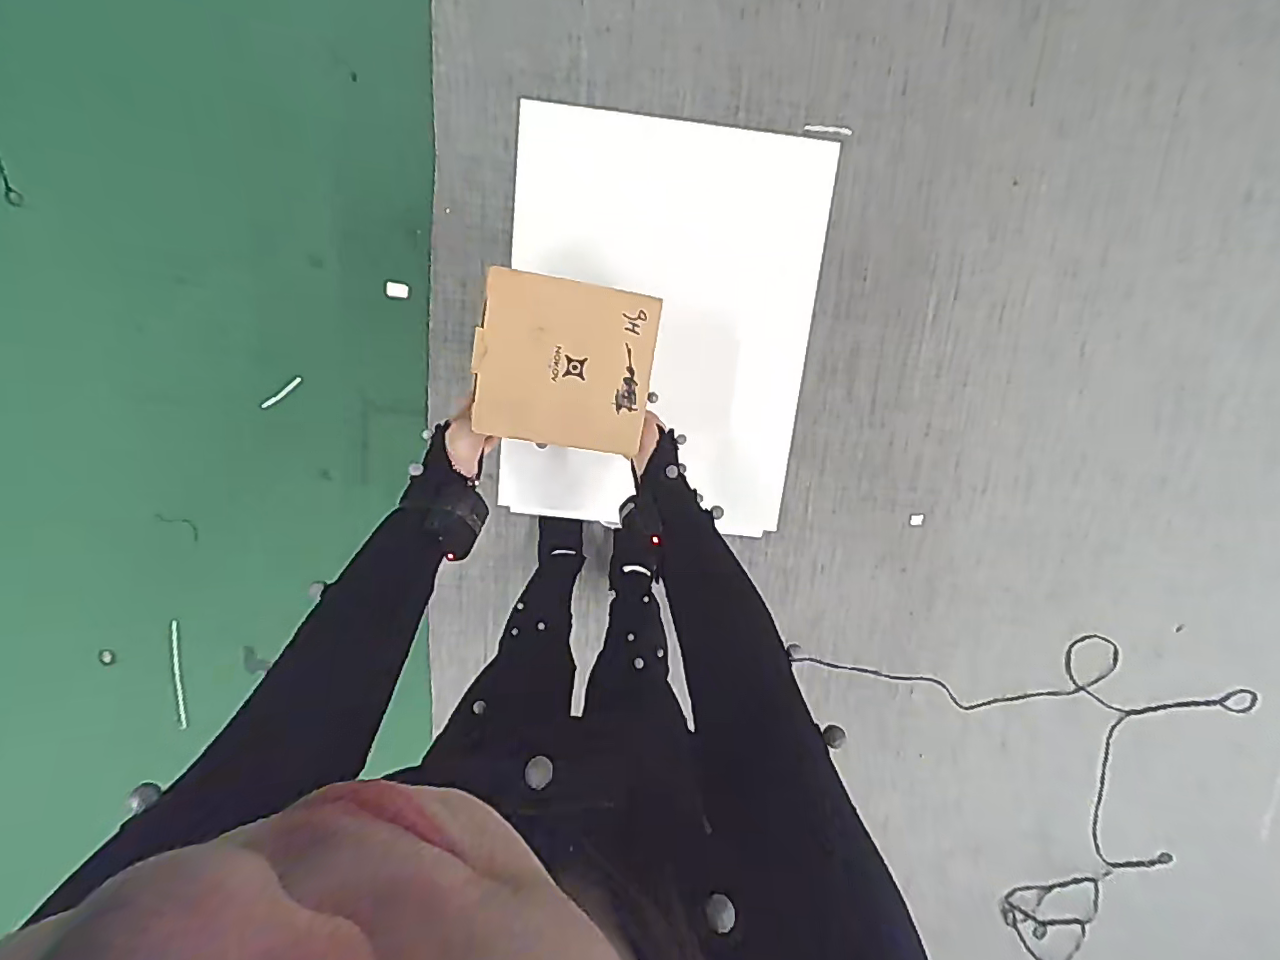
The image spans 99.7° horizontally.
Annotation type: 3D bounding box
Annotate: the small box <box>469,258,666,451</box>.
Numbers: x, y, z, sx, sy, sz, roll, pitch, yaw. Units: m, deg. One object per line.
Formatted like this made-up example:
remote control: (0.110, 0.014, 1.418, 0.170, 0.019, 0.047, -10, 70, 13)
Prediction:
small box: (-0.082, -0.134, 0.621, 0.179, 0.176, 0.168, 9, 97, -9)
